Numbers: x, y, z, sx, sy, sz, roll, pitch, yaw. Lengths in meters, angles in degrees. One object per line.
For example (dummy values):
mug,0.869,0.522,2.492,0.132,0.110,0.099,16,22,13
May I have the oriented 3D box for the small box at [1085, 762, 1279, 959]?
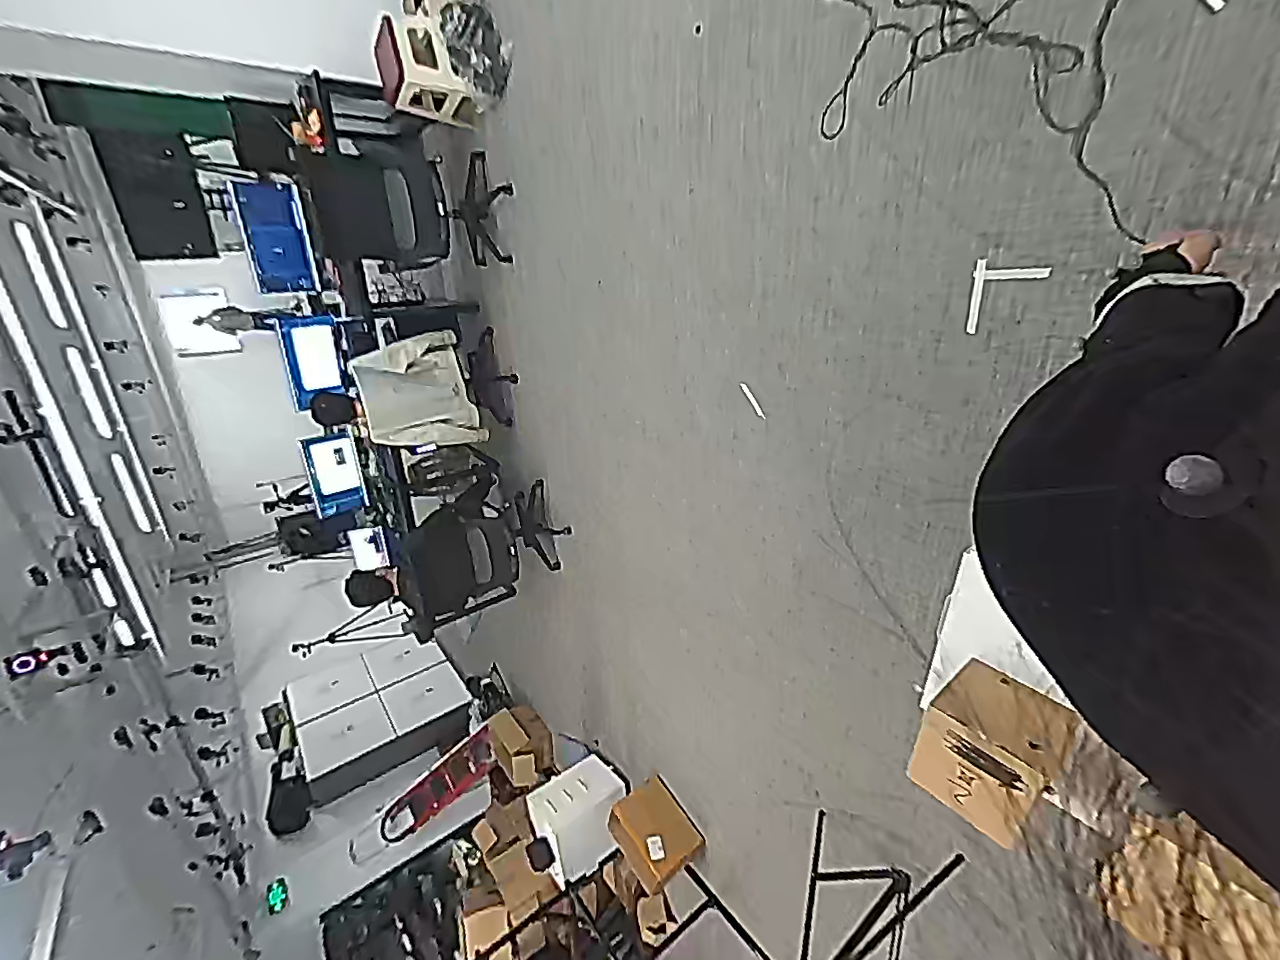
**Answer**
small box,0.730,0.513,0.699,0.168,0.176,0.179,31,129,44
